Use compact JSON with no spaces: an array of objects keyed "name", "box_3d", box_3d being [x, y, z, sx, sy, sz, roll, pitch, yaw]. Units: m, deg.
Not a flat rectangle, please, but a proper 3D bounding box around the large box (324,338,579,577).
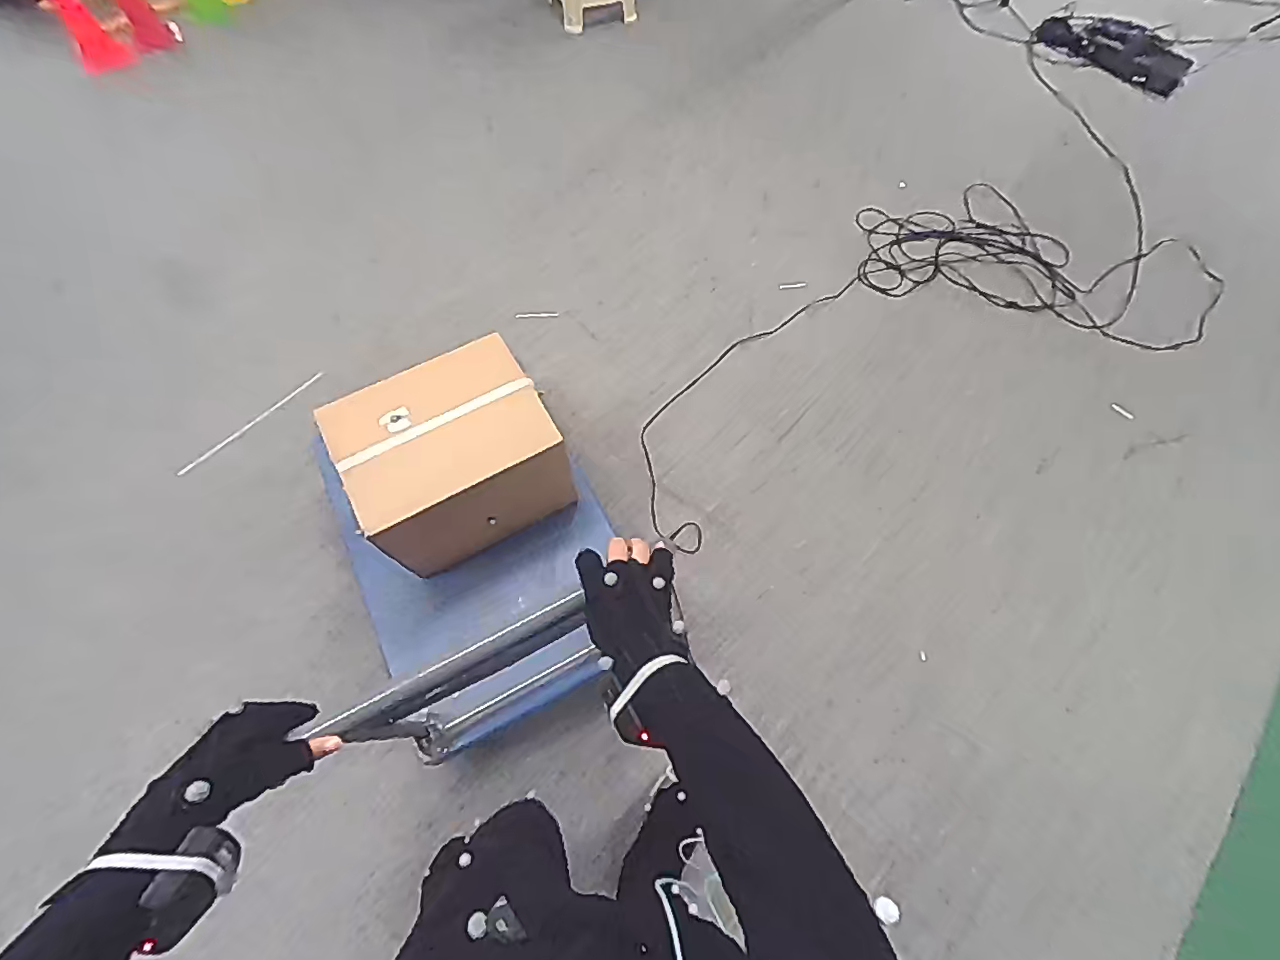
[{"name":"large box","box_3d":[-0.394,-0.039,1.215,0.408,0.320,0.320,-28,68,-12]}]
